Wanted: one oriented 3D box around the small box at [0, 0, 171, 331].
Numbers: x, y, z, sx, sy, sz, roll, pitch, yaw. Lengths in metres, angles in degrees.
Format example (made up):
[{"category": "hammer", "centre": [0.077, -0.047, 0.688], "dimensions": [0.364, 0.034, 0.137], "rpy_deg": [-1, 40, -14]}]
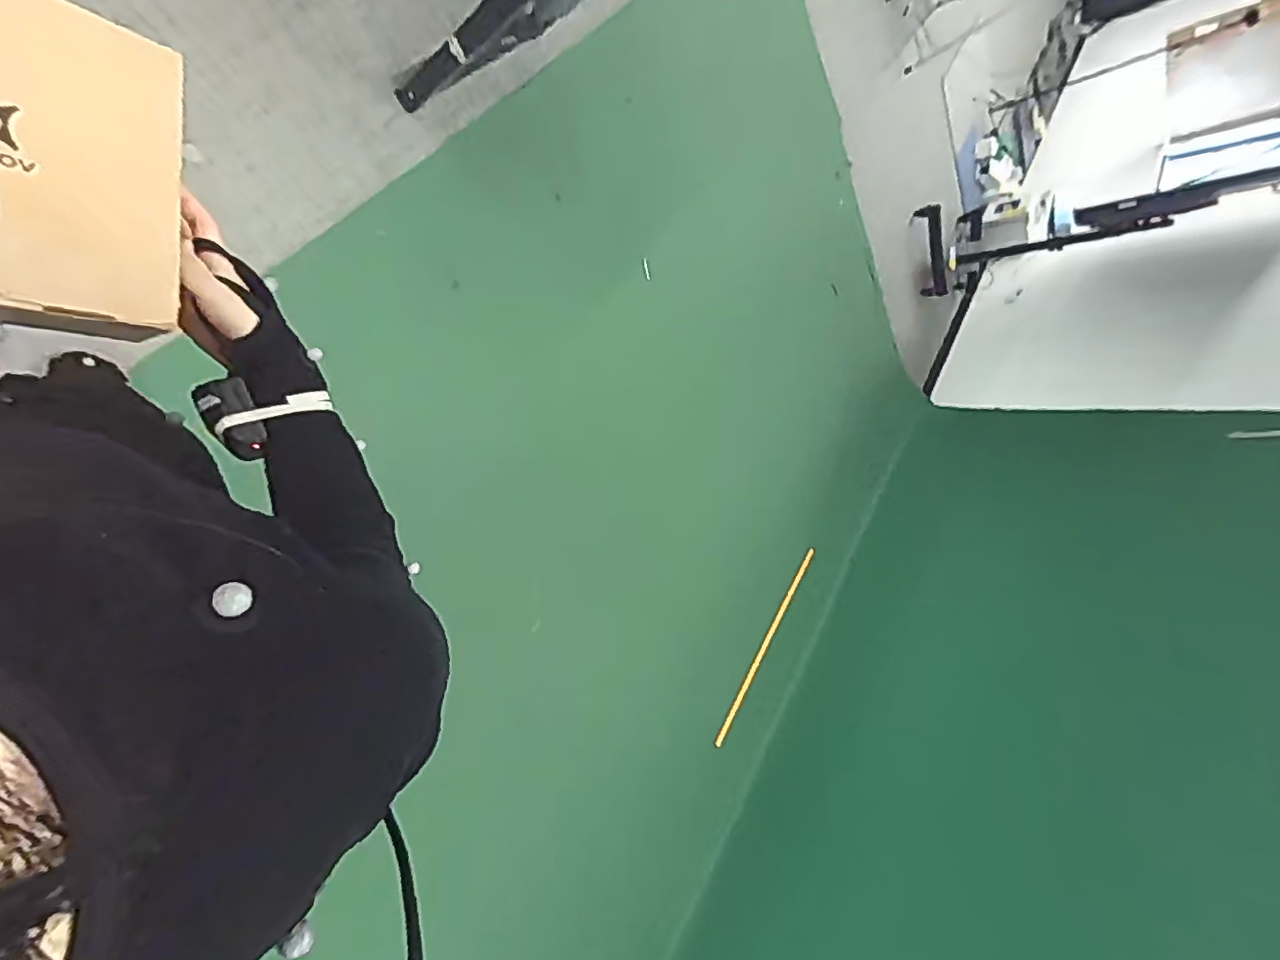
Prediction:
[{"category": "small box", "centre": [-0.417, -0.200, 0.337], "dimensions": [0.168, 0.176, 0.179], "rpy_deg": [-1, 98, -50]}]
